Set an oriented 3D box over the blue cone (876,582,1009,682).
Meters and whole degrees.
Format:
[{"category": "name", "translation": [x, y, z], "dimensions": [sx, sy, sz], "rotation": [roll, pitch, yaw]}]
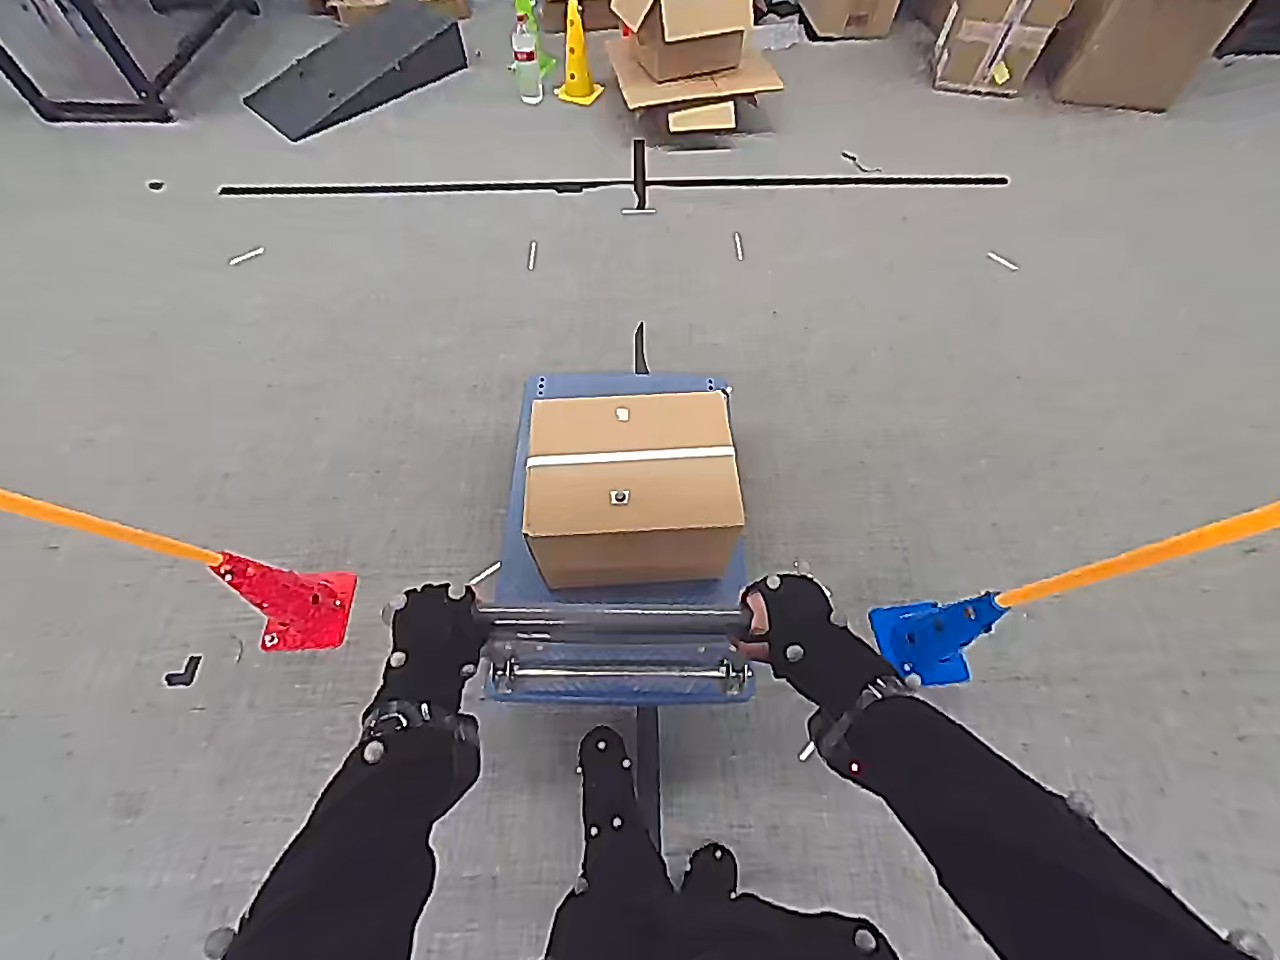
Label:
[{"category": "blue cone", "translation": [0.706, 0.320, 1.214], "dimensions": [0.193, 0.380, 0.192], "rotation": [-4, 59, -3]}]
